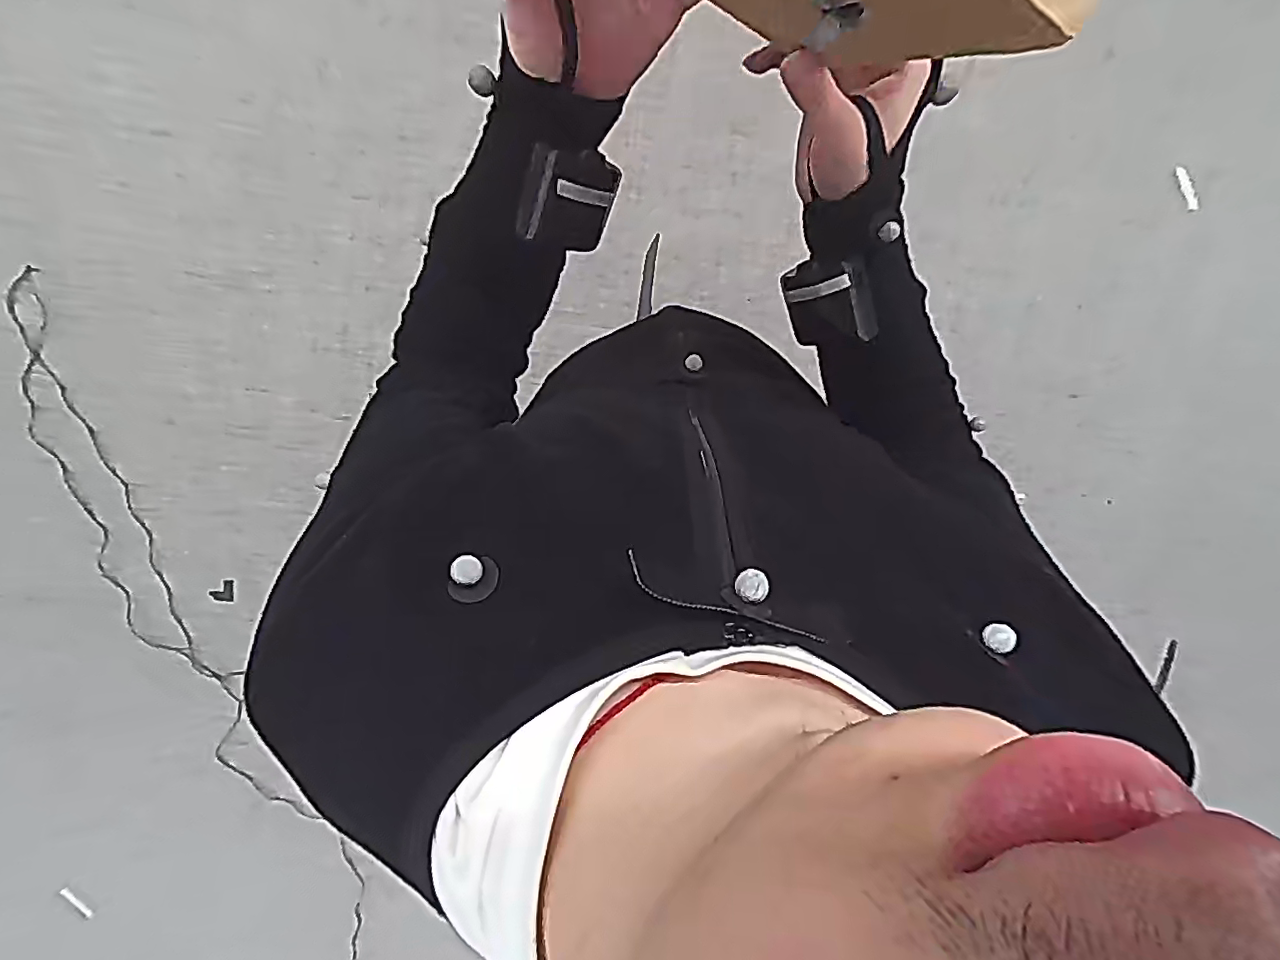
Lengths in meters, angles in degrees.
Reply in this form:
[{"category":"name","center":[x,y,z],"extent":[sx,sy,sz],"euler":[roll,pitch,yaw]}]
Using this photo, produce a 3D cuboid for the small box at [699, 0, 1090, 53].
[{"category":"small box","center":[0.074,-0.272,0.173],"extent":[0.179,0.176,0.168],"euler":[10,118,-26]}]
